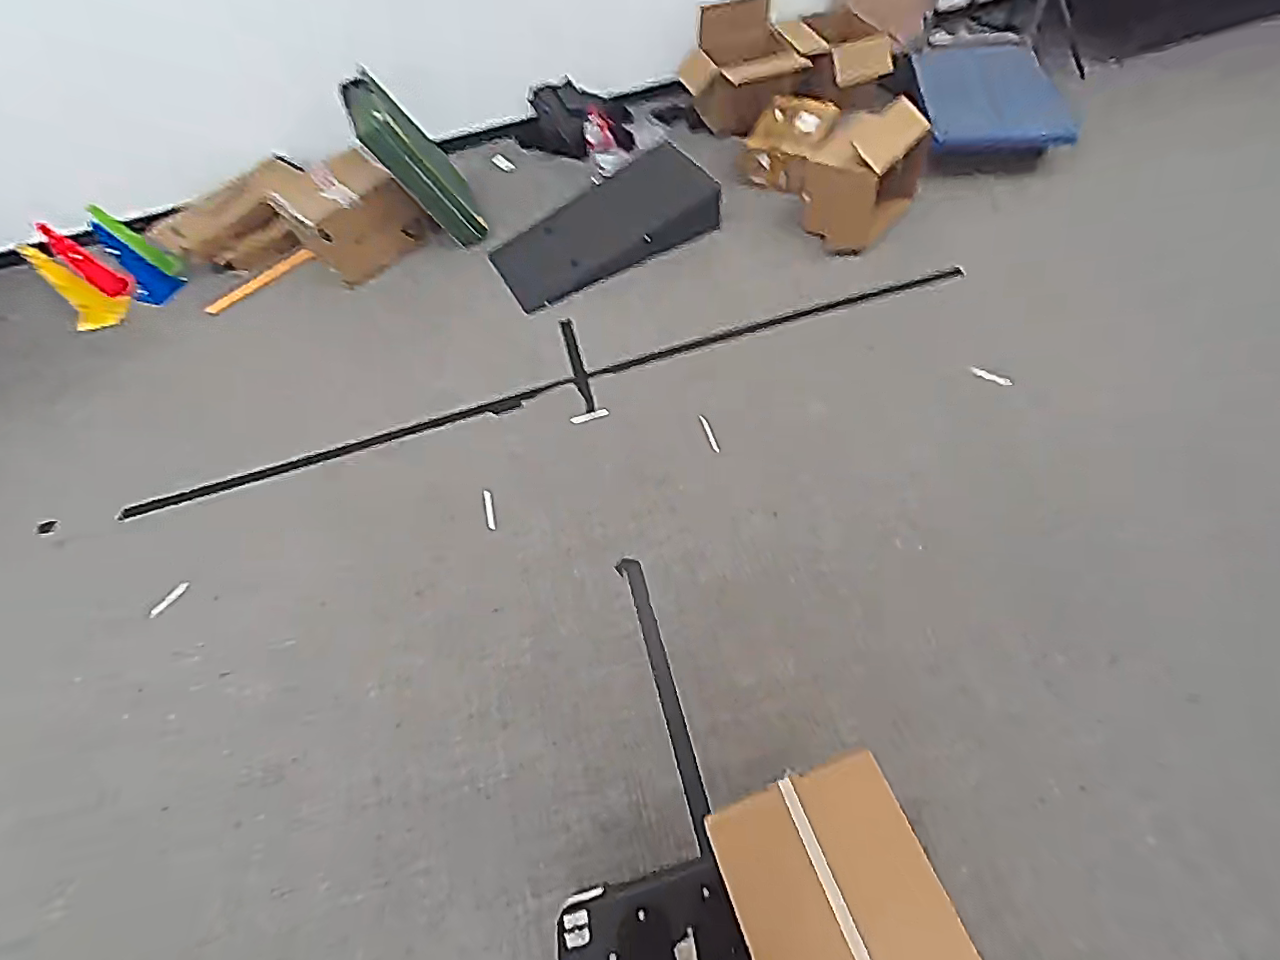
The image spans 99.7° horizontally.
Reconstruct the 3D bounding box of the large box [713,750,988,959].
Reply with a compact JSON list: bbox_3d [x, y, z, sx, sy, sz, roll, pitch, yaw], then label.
[{"bbox_3d":[0.357,0.747,0.957,0.320,0.320,0.408,-23,60,1],"label":"large box"}]
